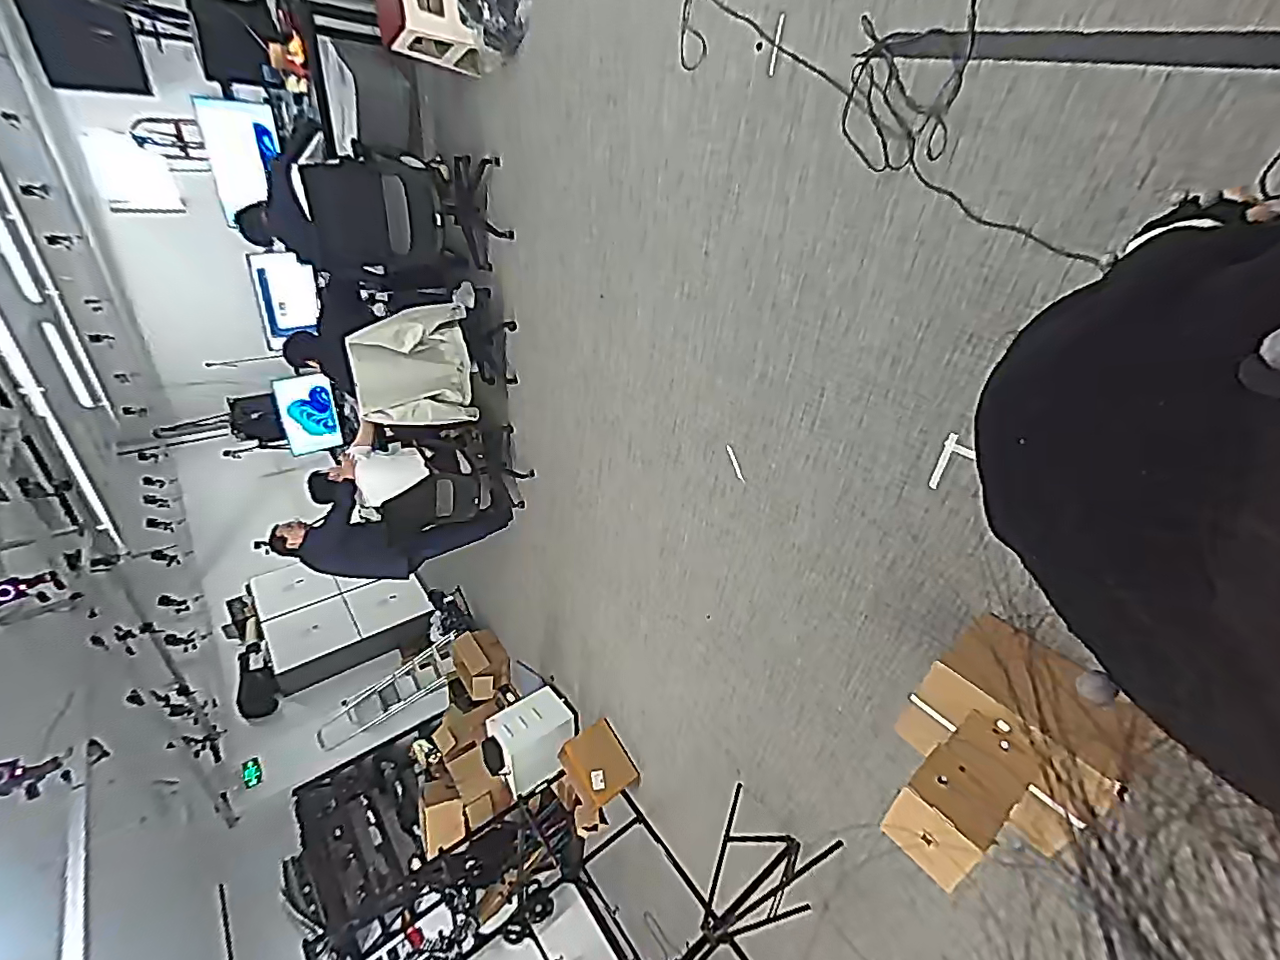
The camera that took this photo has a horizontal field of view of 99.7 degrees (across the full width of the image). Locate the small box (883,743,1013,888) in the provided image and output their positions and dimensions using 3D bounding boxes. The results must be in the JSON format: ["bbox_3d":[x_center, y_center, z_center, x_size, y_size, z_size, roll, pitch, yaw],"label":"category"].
[{"bbox_3d":[0.670,0.718,1.174,0.168,0.176,0.179,36,134,40],"label":"small box"}]

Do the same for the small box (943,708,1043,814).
[{"bbox_3d":[0.798,0.680,1.266,0.168,0.176,0.179,37,132,39],"label":"small box"}]
